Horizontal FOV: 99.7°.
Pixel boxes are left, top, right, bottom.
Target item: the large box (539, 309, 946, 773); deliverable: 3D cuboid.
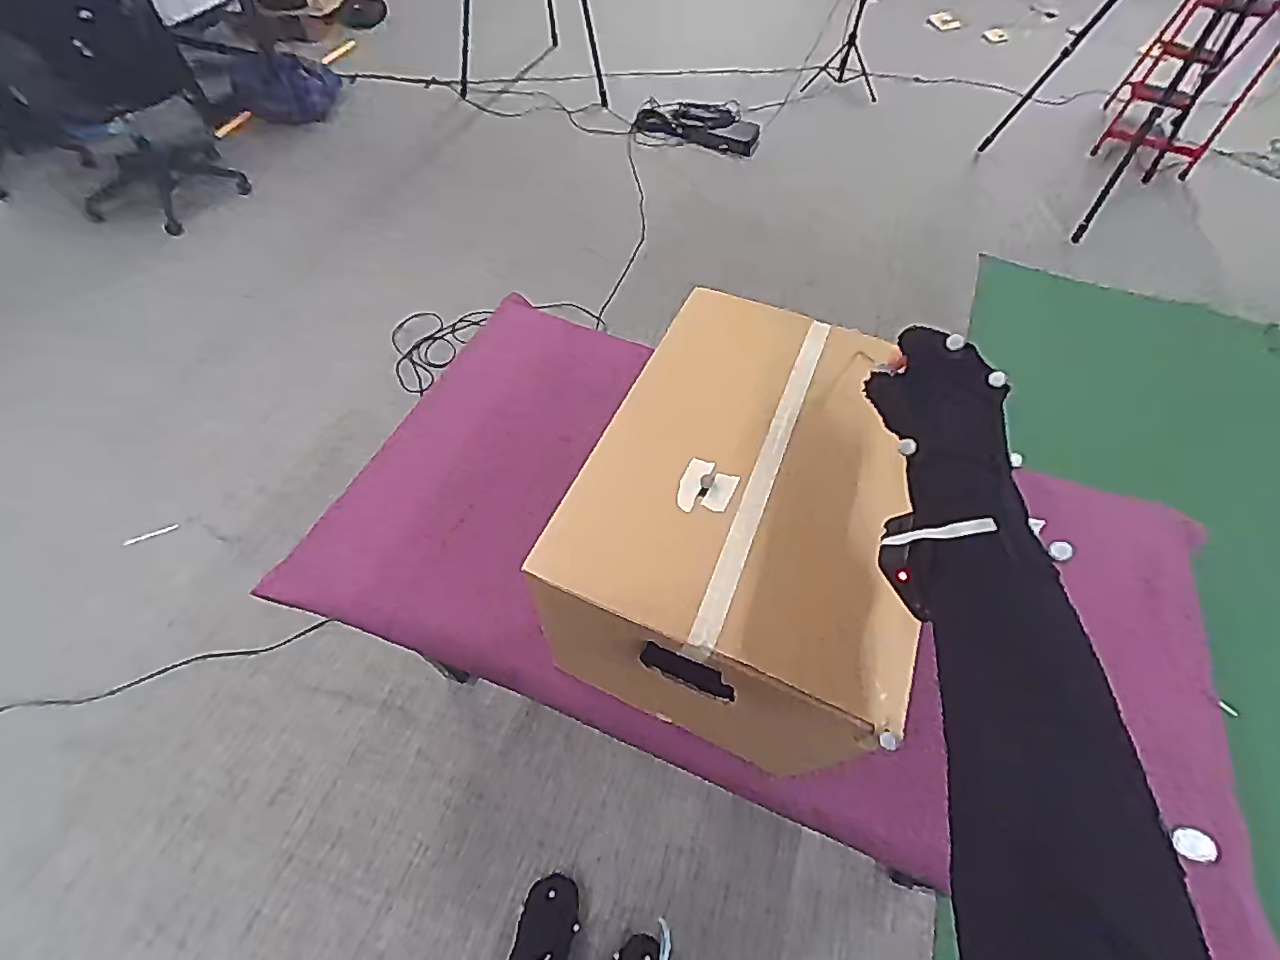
[{"bbox_3d":[0.120,0.074,0.659,0.320,0.320,0.408,22,59,11],"label":"large box"}]
